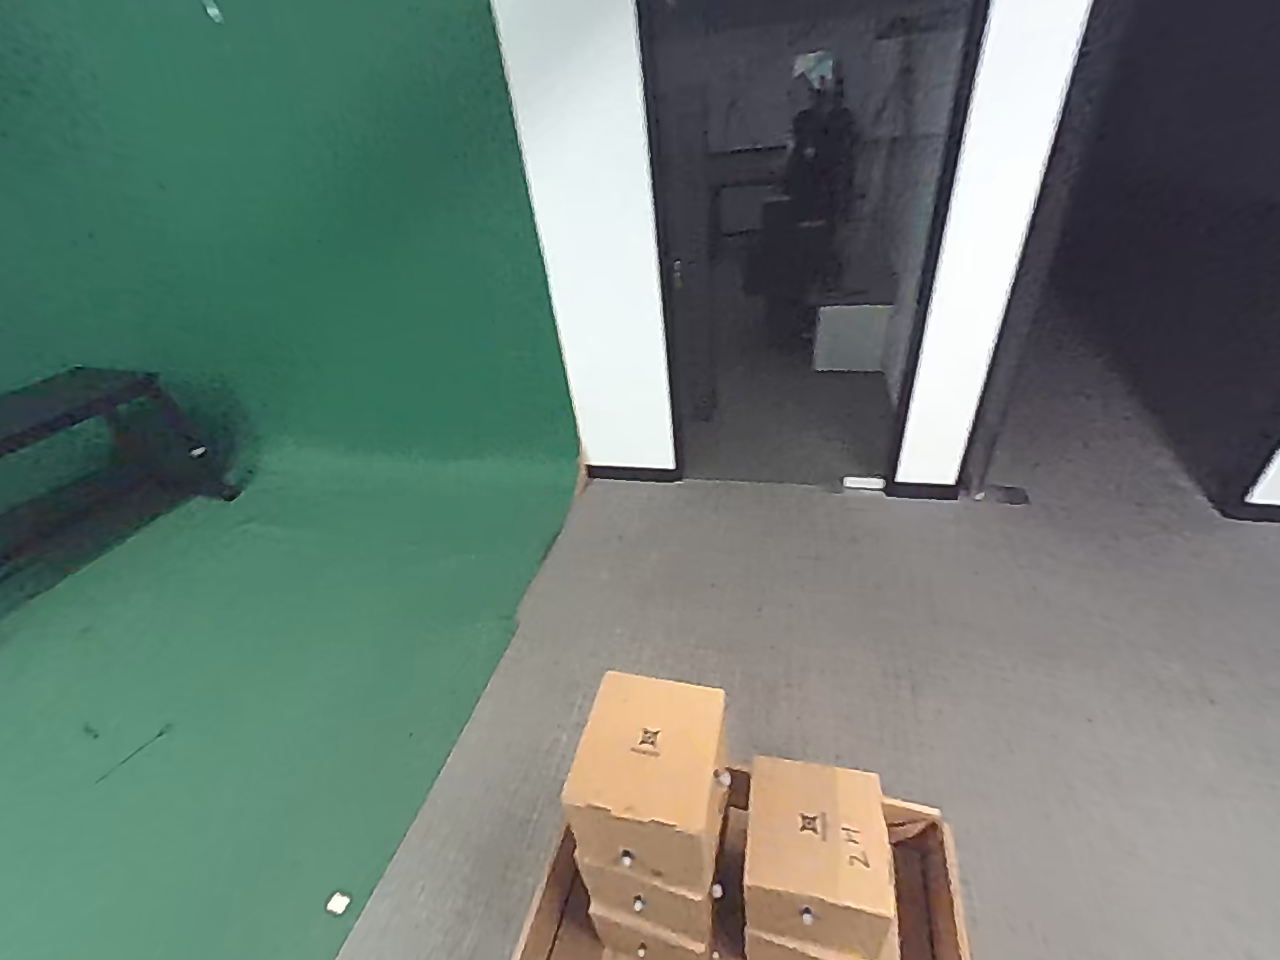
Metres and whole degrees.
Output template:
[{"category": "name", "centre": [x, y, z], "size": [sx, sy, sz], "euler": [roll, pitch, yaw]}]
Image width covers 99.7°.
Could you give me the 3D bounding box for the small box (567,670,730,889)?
[{"category": "small box", "centre": [0.022, 0.382, 0.701], "size": [0.168, 0.176, 0.179], "euler": [4, 37, 16]}]
